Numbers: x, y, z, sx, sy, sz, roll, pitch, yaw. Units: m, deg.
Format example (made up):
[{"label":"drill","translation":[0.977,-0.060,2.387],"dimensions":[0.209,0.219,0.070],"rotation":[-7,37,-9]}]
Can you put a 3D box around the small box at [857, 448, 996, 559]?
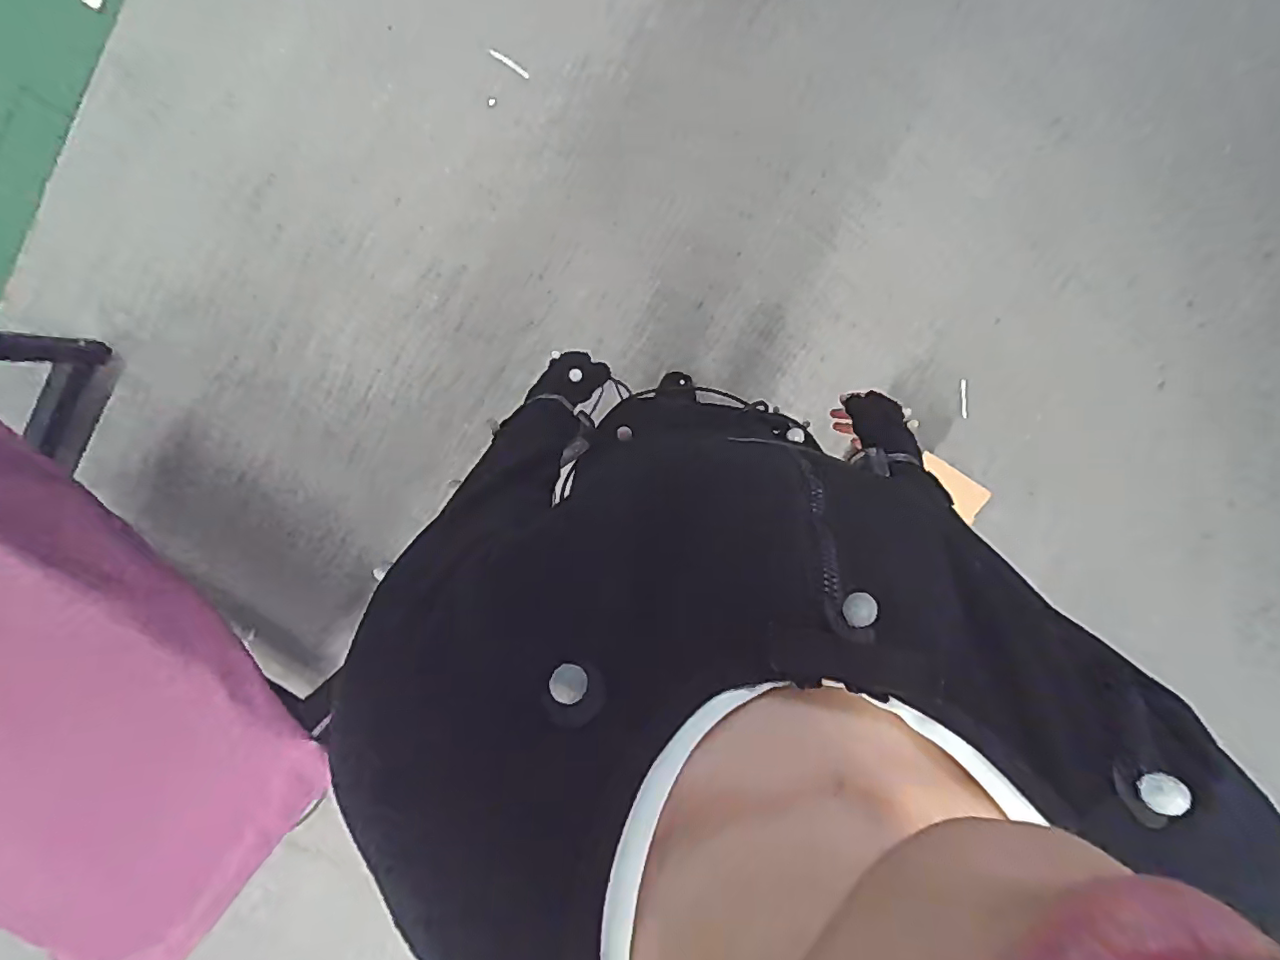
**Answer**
[{"label":"small box","translation":[0.626,0.042,1.204],"dimensions":[0.179,0.176,0.168],"rotation":[33,99,-4]}]
